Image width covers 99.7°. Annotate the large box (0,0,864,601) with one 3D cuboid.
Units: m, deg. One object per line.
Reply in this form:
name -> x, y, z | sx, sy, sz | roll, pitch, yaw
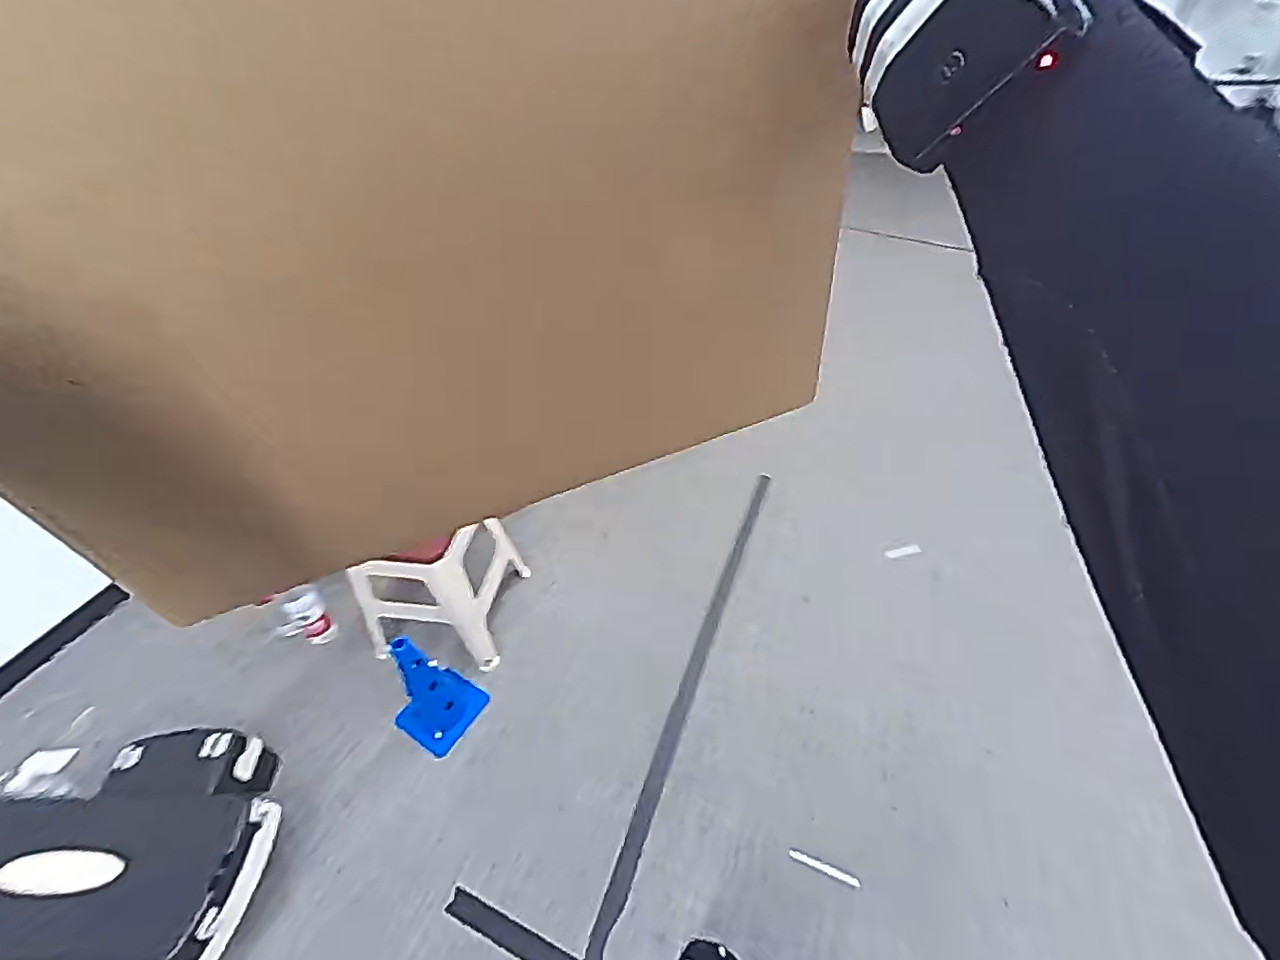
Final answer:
large box -> -0.130, -0.190, 0.344 | 0.408, 0.320, 0.320 | -19, 45, -12
